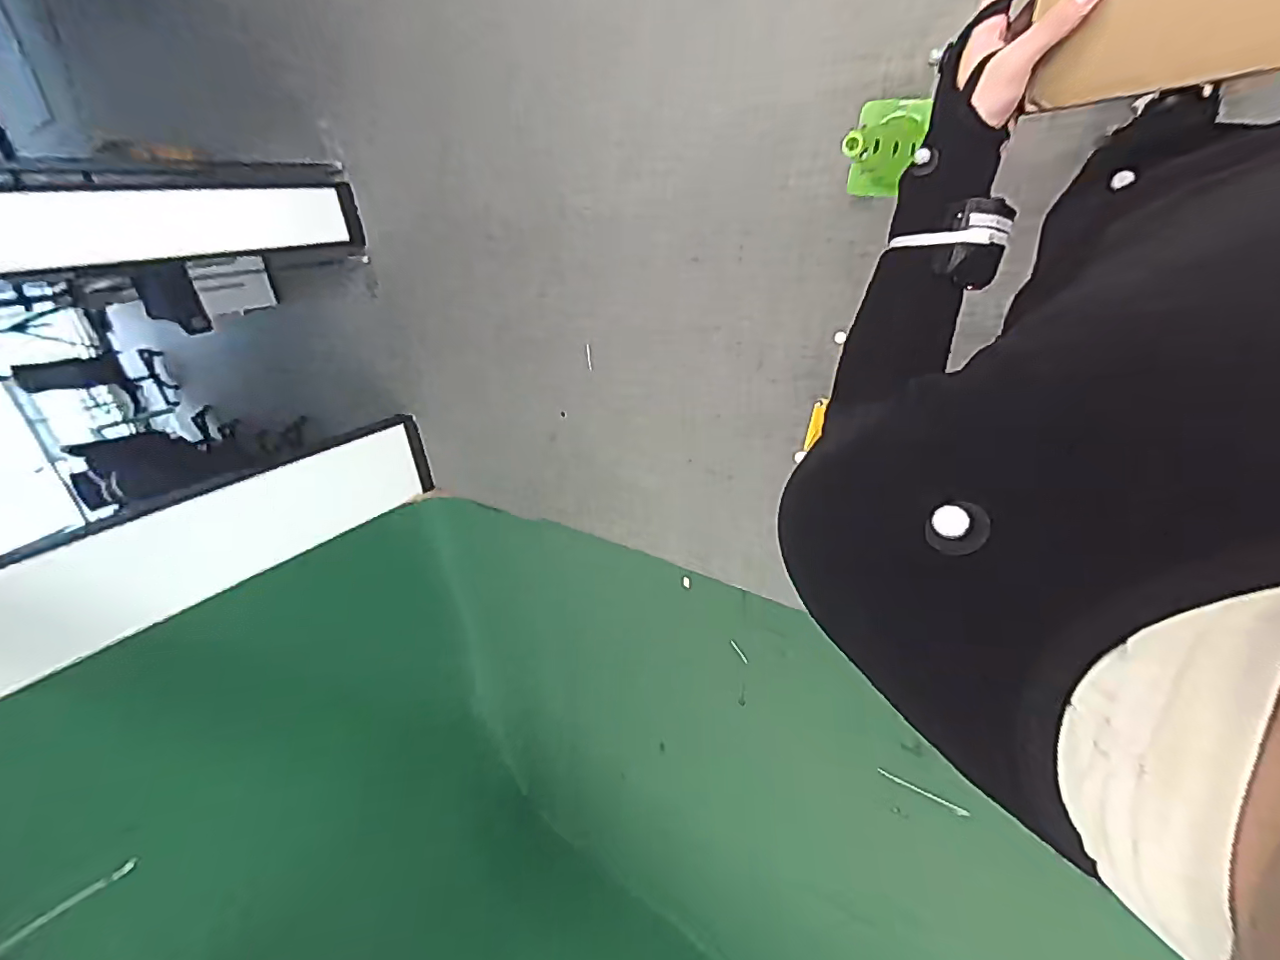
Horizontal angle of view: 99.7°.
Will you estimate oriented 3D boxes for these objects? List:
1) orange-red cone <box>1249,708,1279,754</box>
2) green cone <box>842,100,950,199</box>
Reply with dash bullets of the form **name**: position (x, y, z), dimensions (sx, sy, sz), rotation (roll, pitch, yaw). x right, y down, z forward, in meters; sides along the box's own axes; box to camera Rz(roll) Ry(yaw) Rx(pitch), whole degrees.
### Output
- **orange-red cone**: position (1.522, 0.680, 1.155), dimensions (0.199, 0.360, 0.198), rotation (20, 126, 28)
- **green cone**: position (0.518, -0.720, 1.187), dimensions (0.200, 0.368, 0.202), rotation (20, 127, 31)
